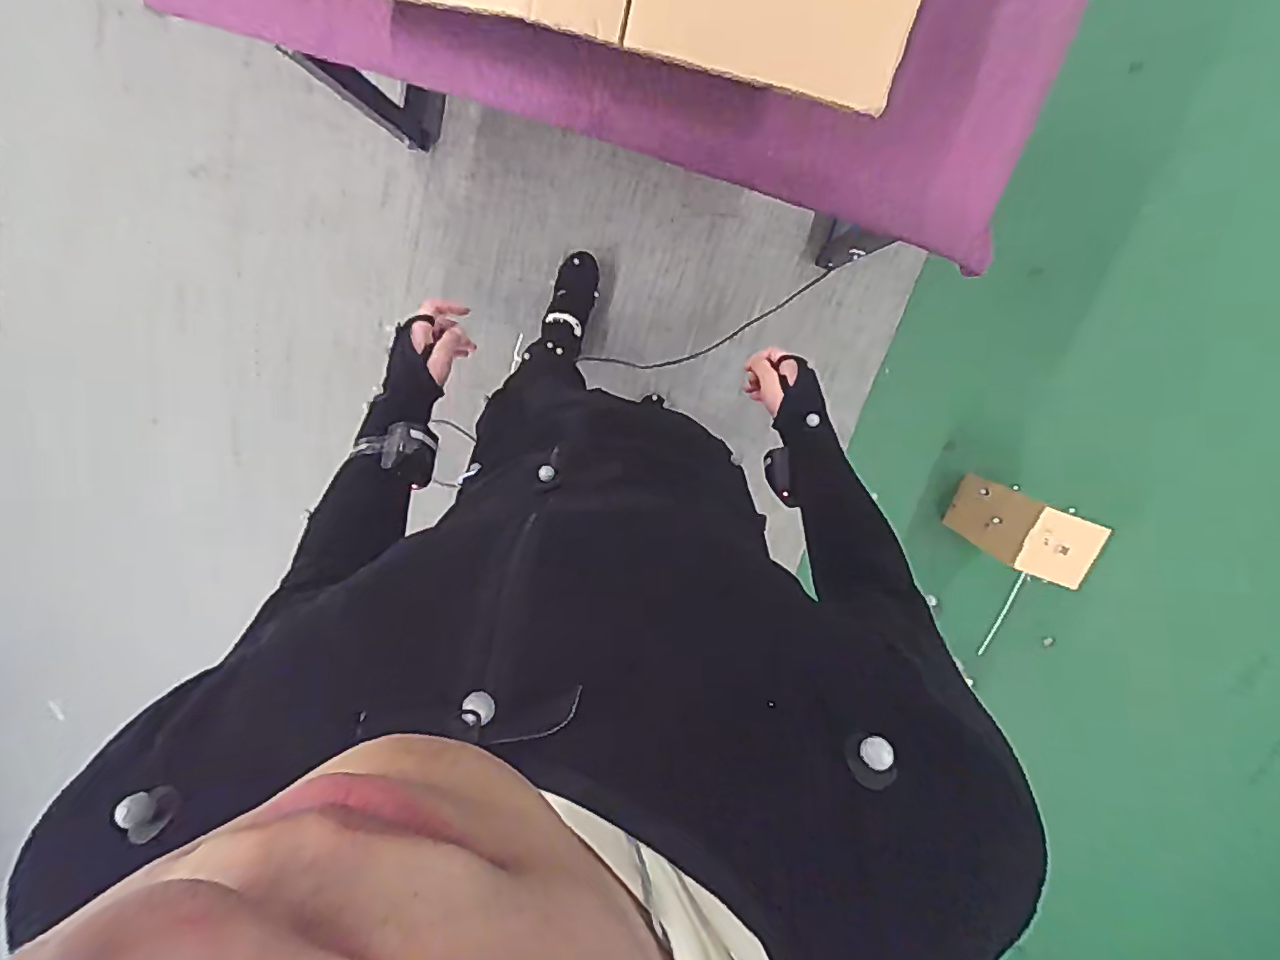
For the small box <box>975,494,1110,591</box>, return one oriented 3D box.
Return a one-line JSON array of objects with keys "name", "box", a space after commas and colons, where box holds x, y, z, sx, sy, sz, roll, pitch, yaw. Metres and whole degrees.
[{"name": "small box", "box": [0.998, 0.149, 1.356, 0.179, 0.176, 0.168, 19, 103, -3]}]
